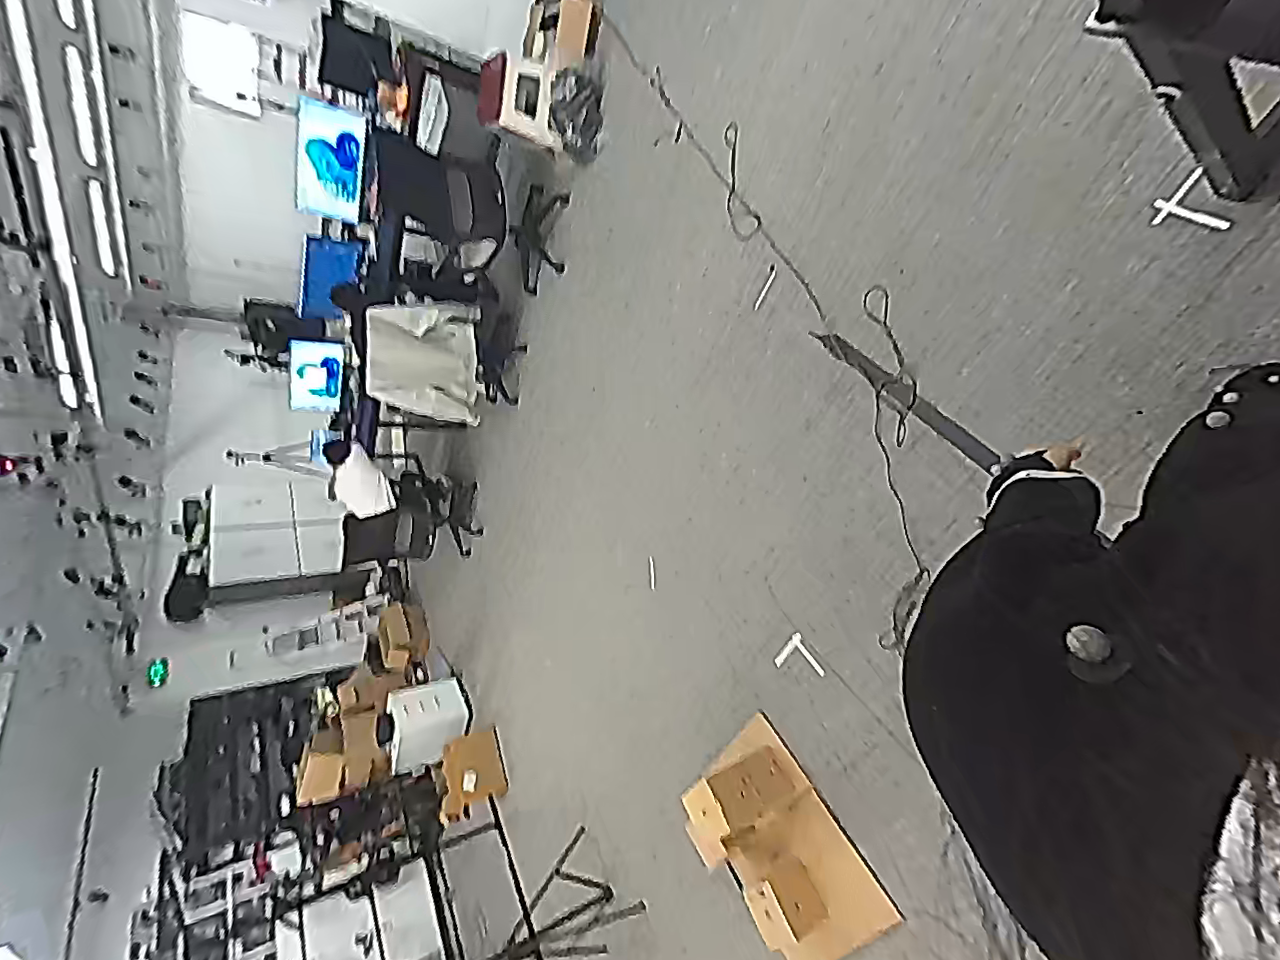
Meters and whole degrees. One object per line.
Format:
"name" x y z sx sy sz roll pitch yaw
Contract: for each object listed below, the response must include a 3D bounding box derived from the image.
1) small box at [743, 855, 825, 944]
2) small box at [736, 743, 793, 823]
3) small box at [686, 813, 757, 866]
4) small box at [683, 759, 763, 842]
"small box" 0.493 1.426 1.840 0.168 0.176 0.179 -56 51 38
"small box" 0.413 1.079 1.932 0.168 0.176 0.179 54 131 36
"small box" 0.314 1.330 2.083 0.179 0.176 0.168 49 130 40
"small box" 0.282 1.083 1.835 0.168 0.176 0.179 57 133 34
